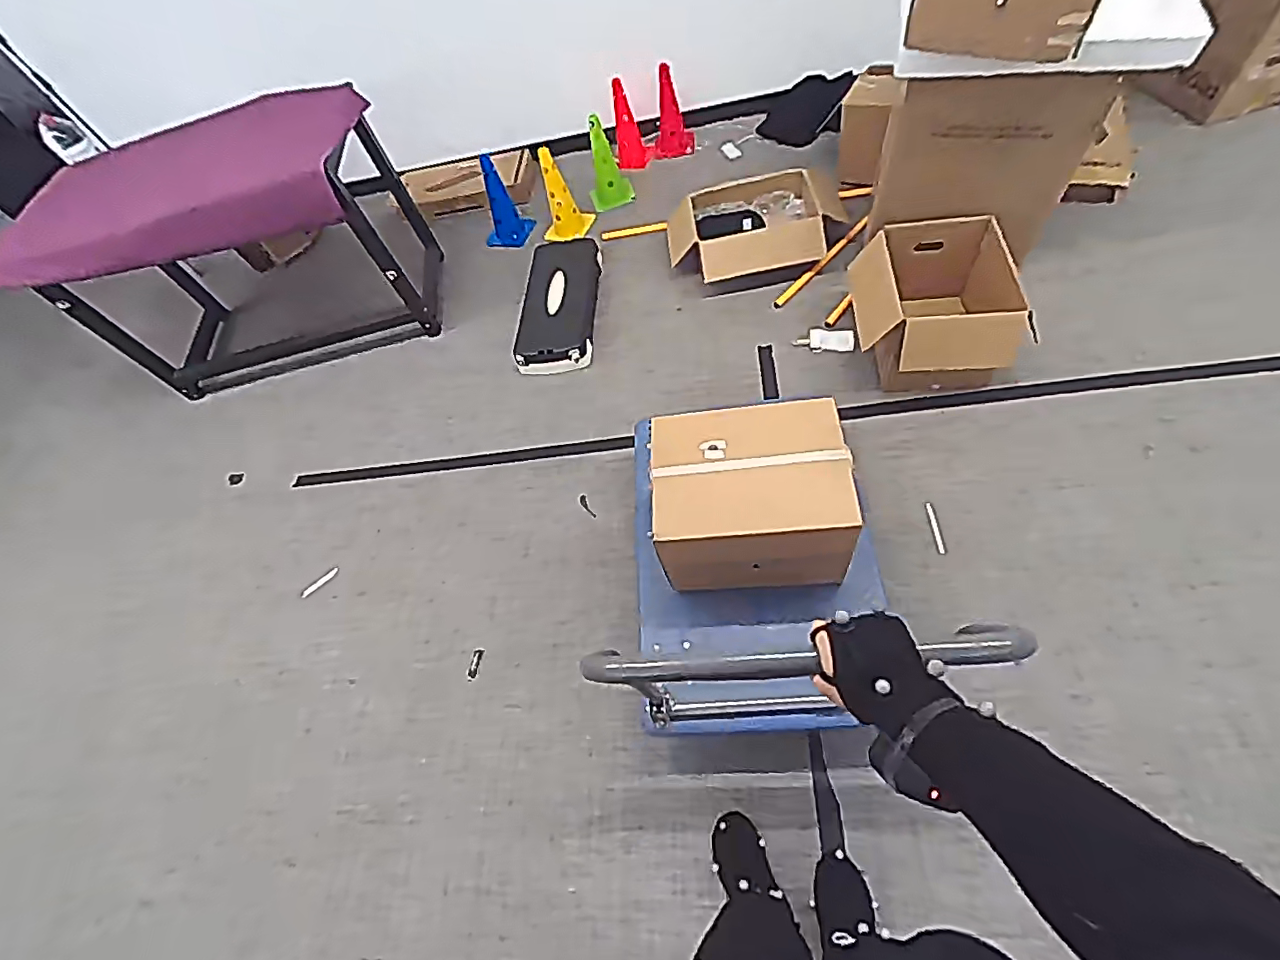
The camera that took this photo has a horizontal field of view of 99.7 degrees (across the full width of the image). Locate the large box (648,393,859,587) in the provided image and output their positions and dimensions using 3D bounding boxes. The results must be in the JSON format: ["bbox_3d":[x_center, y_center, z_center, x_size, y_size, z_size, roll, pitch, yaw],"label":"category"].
[{"bbox_3d":[0.248,0.040,1.245,0.408,0.320,0.320,-6,57,10],"label":"large box"}]
